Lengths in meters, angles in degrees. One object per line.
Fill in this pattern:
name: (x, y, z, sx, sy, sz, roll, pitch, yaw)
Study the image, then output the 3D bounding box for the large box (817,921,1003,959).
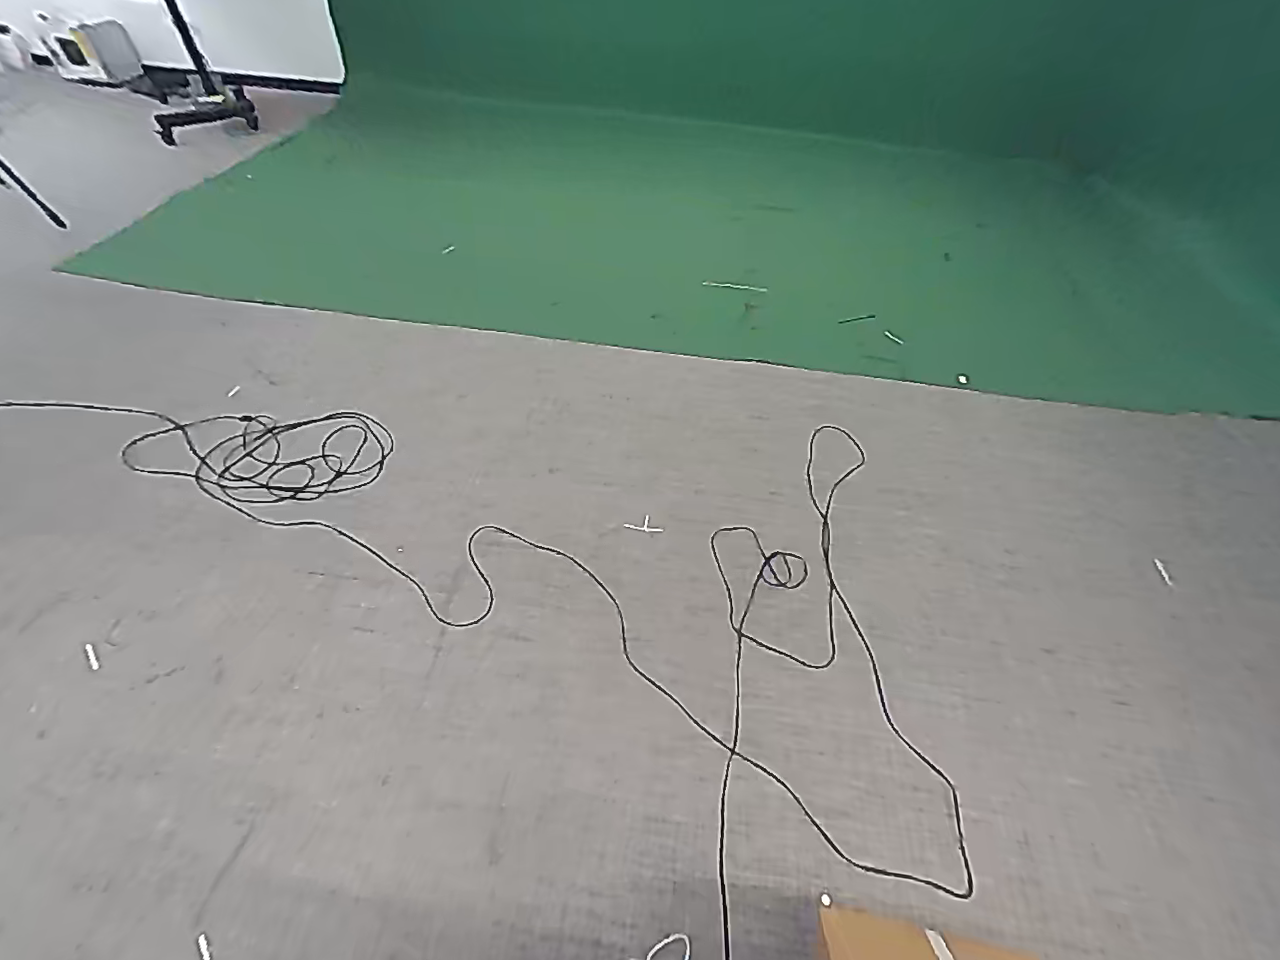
large box: (0.372, 0.804, 0.580, 0.320, 0.408, 0.320, 7, 84, 10)
